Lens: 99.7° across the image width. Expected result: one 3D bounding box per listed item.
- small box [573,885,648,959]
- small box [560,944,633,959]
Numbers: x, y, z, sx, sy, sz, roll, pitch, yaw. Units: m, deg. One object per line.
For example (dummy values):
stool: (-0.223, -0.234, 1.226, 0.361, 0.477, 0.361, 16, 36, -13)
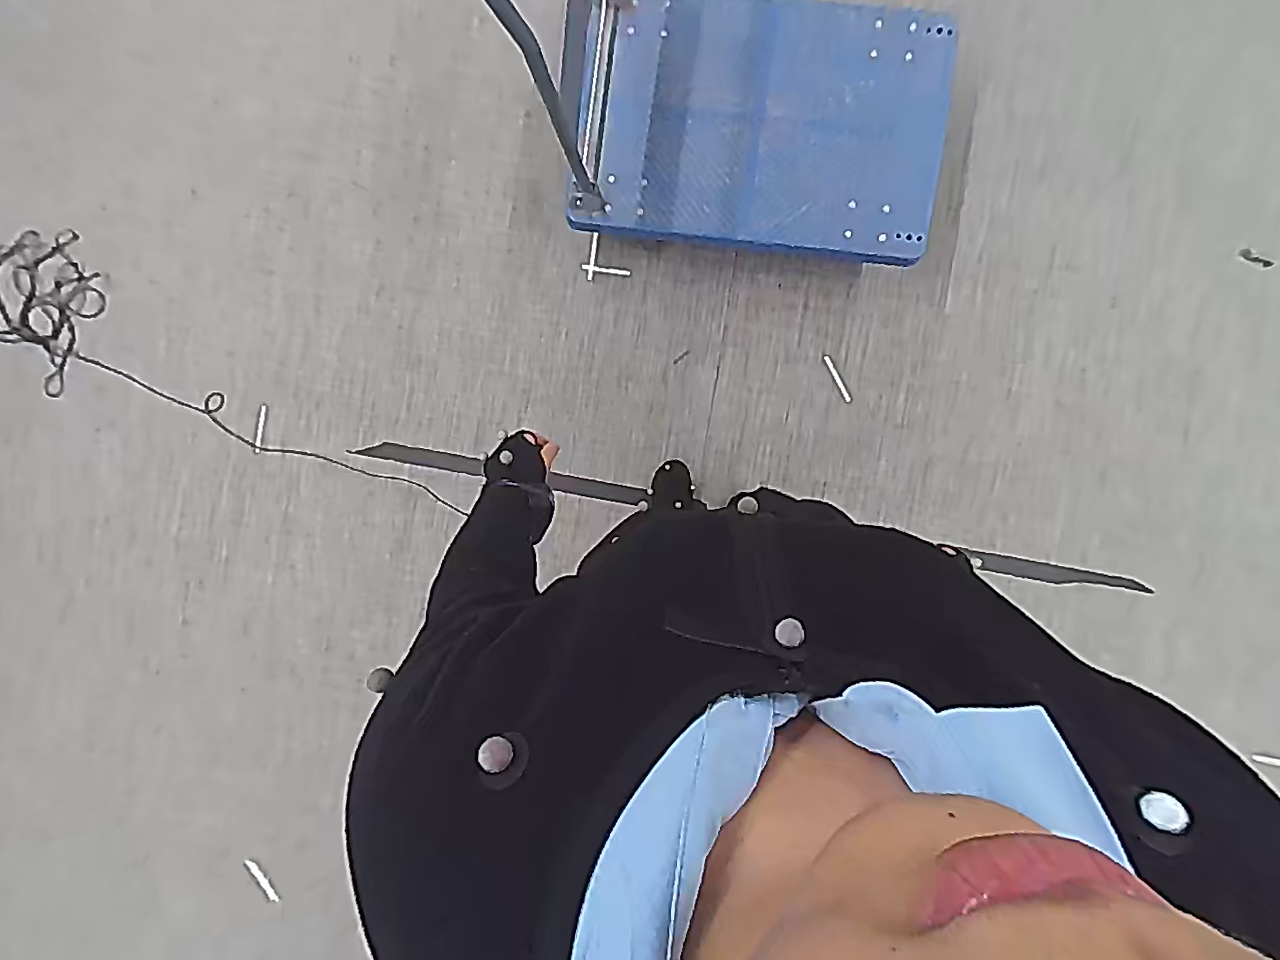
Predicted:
small box: (-0.077, 1.122, 1.281, 0.168, 0.176, 0.179, 13, 91, 2)
small box: (-0.100, 1.124, 1.119, 0.168, 0.176, 0.179, 2, 91, 3)
